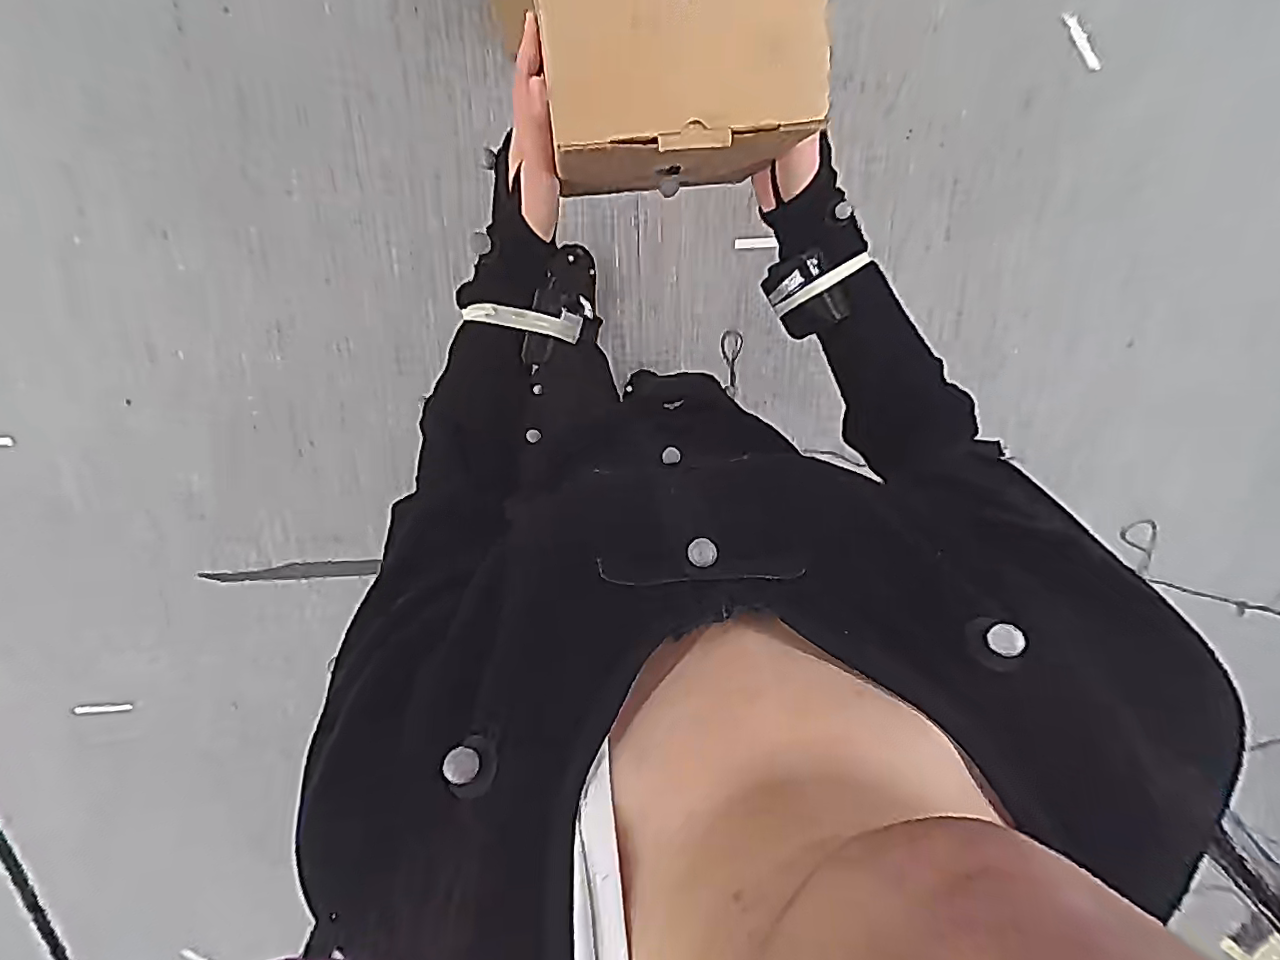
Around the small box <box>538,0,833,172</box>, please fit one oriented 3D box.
[{"bbox_3d":[0.016,-0.317,0.361,0.168,0.176,0.179,-8,111,-5],"label":"small box"}]
